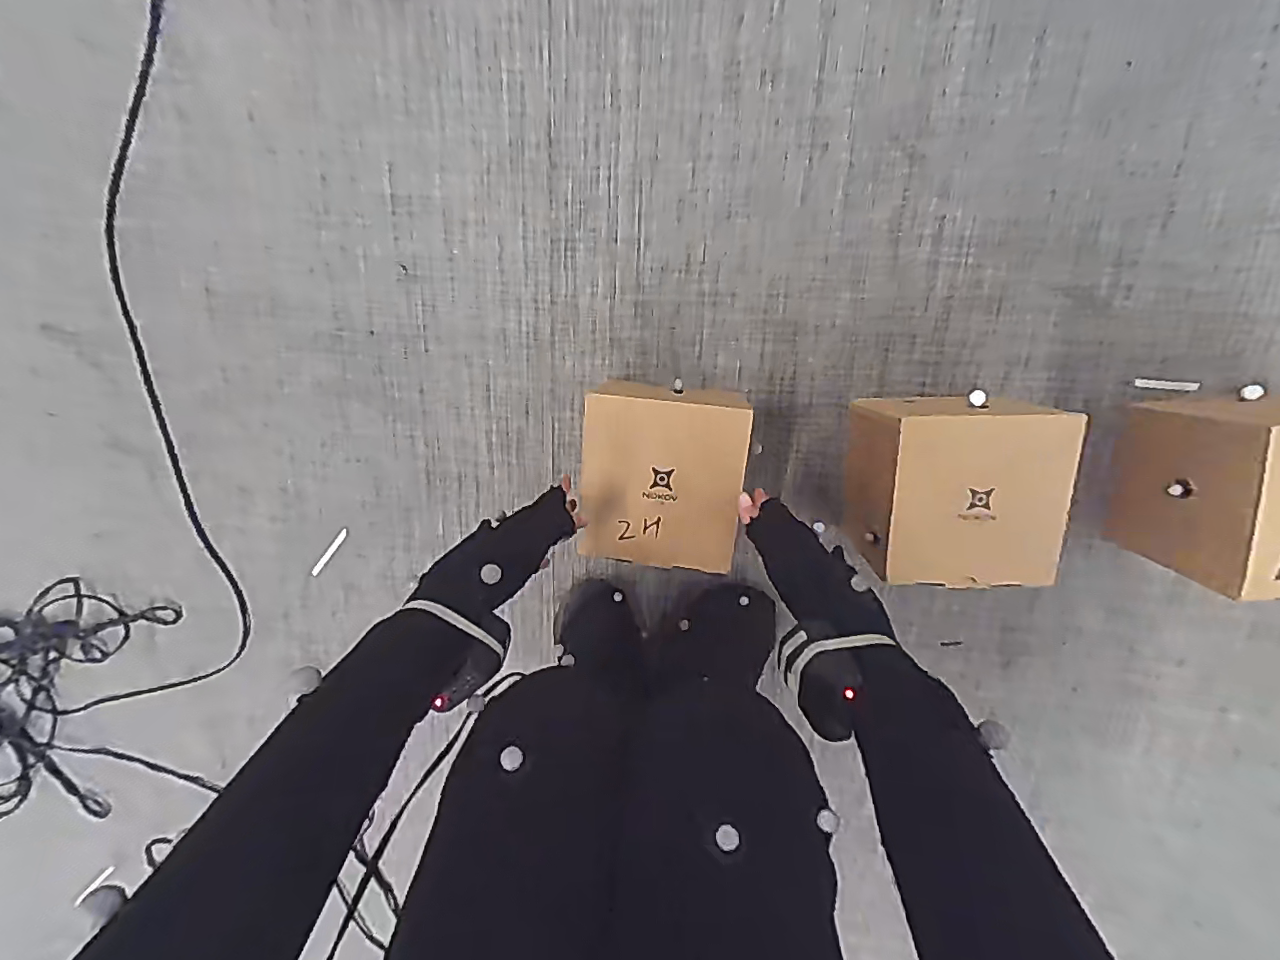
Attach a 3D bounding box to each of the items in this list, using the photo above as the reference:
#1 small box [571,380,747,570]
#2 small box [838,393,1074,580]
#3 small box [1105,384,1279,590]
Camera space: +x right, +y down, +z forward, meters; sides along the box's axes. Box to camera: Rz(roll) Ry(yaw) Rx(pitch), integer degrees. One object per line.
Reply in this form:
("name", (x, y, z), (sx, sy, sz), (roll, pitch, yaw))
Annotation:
("small box", (0.022, -0.018, 0.622), (0.168, 0.176, 0.179), (6, 105, 4))
("small box", (0.327, -0.004, 0.600), (0.168, 0.176, 0.179), (-1, 105, 6))
("small box", (0.643, -0.002, 0.572), (0.168, 0.176, 0.179), (-5, 103, 6))
